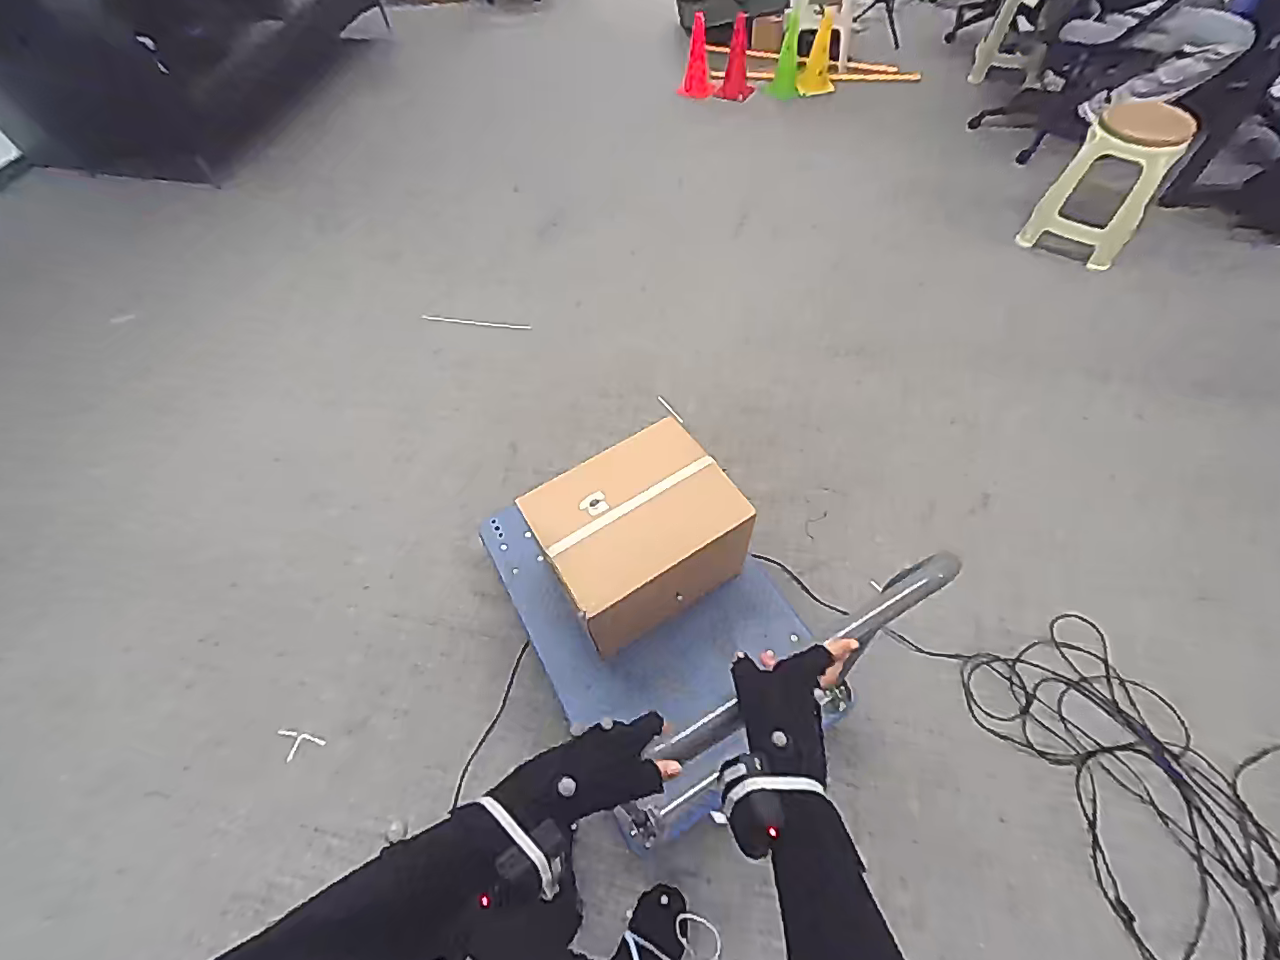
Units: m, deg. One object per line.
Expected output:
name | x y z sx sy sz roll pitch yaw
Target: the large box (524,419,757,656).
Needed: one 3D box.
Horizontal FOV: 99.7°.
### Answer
large box | 0.005 0.136 1.252 0.408 0.320 0.320 -30 60 -14
